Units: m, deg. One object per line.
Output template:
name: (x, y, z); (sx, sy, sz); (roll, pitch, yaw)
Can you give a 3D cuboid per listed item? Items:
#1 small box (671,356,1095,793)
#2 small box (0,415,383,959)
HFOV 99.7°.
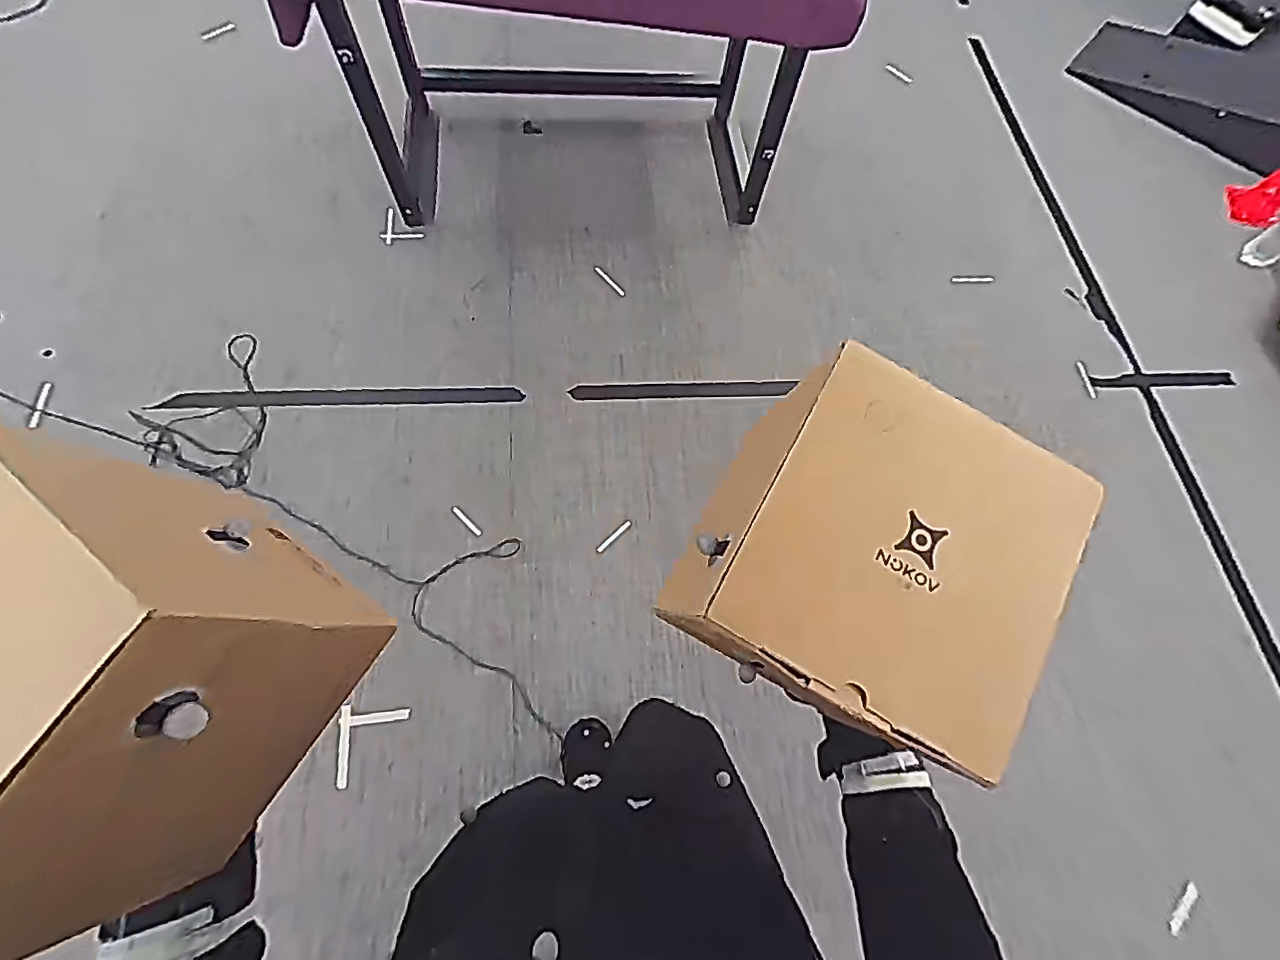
small box: (0.136, 0.057, 0.362); (0.168, 0.176, 0.179); (31, 77, 0)
small box: (-0.274, 0.101, 0.288); (0.168, 0.176, 0.179); (32, 81, 16)
